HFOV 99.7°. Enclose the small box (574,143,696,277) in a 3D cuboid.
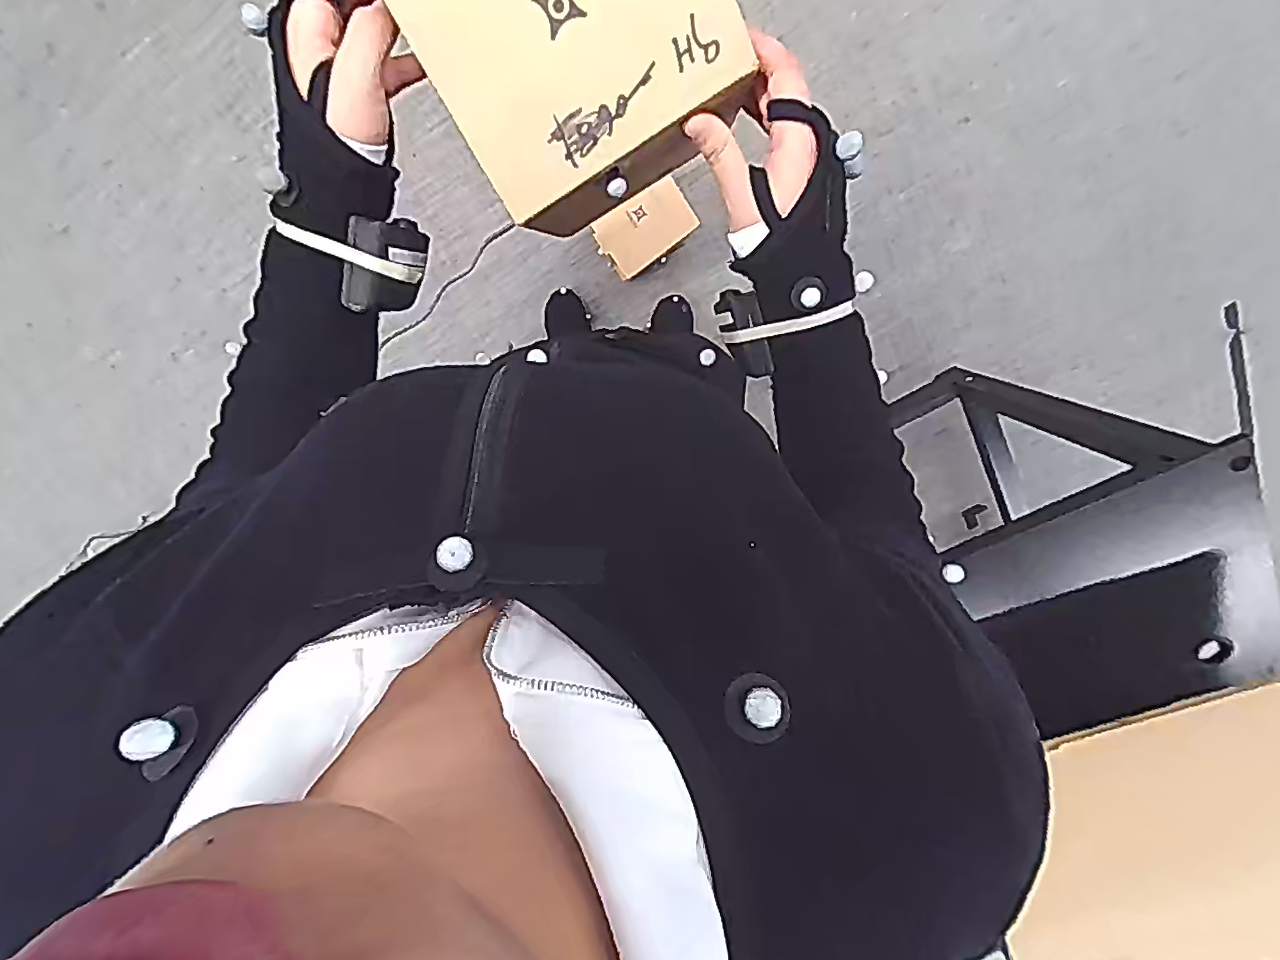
[{"bbox_3d":[-0.009,-0.527,1.086,0.179,0.176,0.168,-35,108,11],"label":"small box"}]
